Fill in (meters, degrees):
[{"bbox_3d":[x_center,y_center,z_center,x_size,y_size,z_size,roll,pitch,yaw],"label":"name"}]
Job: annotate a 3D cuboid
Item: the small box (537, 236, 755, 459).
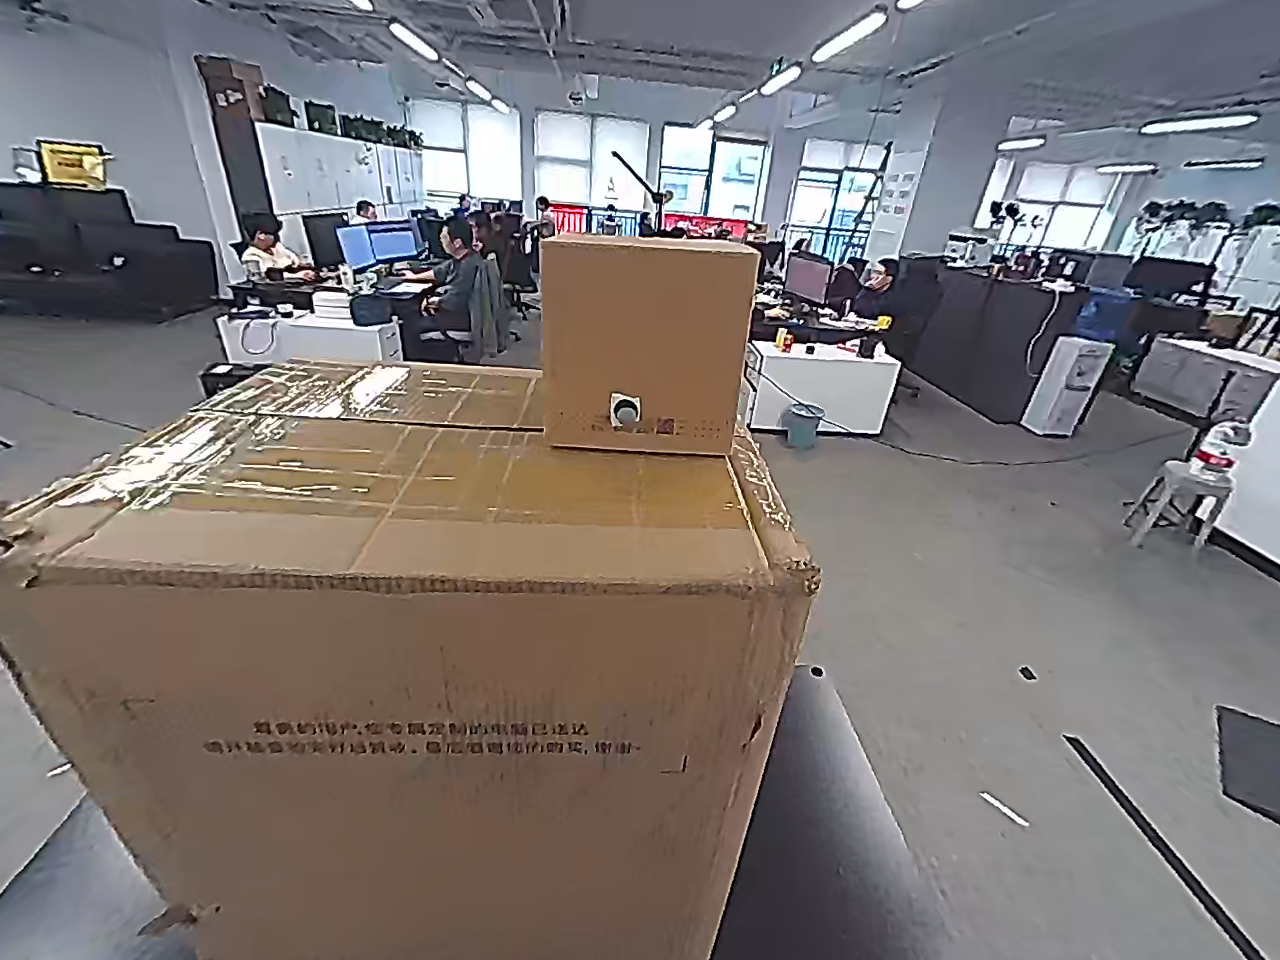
[{"bbox_3d":[0.000,-0.131,0.509,0.168,0.176,0.179,1,27,-2],"label":"small box"}]
